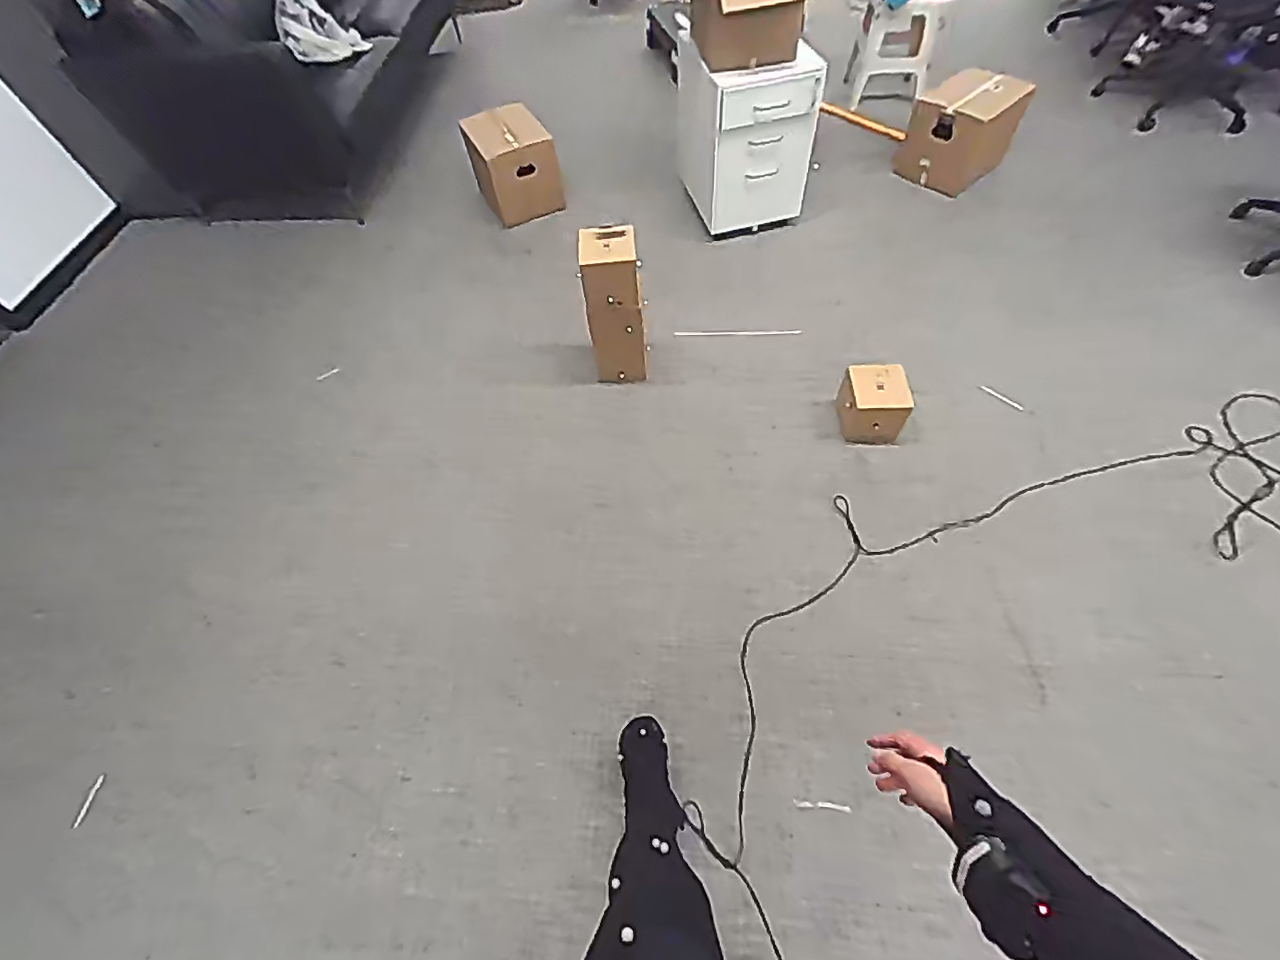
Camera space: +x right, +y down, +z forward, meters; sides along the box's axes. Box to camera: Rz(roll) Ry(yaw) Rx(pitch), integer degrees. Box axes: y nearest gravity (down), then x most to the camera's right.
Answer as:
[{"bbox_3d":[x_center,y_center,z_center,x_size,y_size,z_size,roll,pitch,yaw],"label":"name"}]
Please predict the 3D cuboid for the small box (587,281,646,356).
[{"bbox_3d":[-0.071,-0.531,1.788,0.179,0.176,0.168,-4,55,5],"label":"small box"}]

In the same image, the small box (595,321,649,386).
[{"bbox_3d":[-0.059,-0.451,1.930,0.179,0.176,0.168,0,57,5],"label":"small box"}]

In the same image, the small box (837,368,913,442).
[{"bbox_3d":[0.734,-0.231,1.706,0.168,0.176,0.179,-1,58,4],"label":"small box"}]
